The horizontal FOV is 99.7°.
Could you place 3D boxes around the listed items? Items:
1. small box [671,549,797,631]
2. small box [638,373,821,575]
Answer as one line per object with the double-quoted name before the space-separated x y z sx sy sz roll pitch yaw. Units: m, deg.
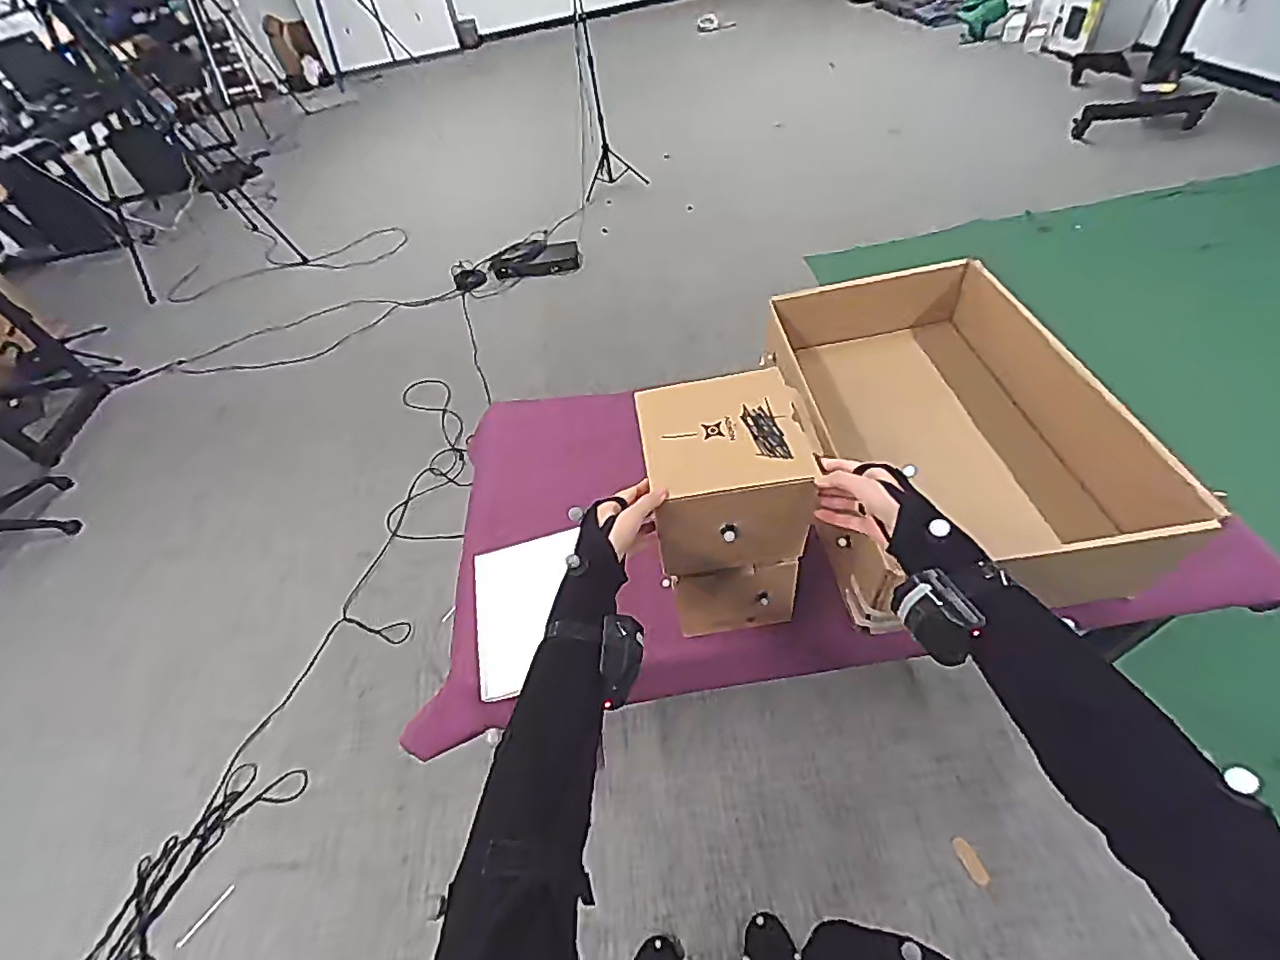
"small box" 0.127 0.110 0.805 0.168 0.176 0.179 -9 47 2
"small box" 0.098 -0.002 0.655 0.179 0.176 0.168 -9 52 2
